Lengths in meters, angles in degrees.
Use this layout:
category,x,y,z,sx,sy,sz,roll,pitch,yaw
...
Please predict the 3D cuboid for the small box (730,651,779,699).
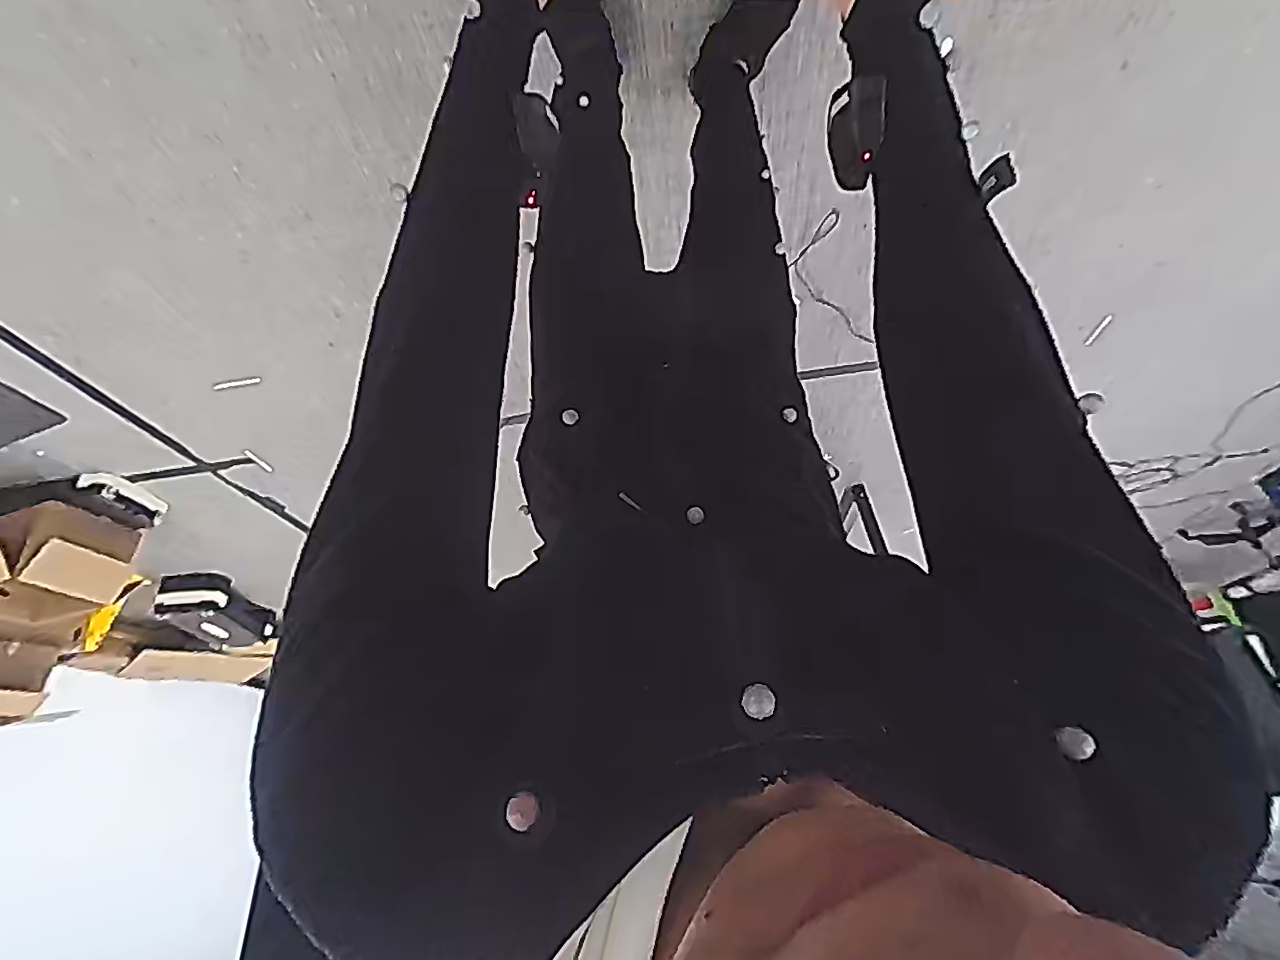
category,x,y,z,sx,sy,sz,roll,pitch,yaw
small box,0.516,0.891,2.467,0.179,0.176,0.168,-8,150,0
